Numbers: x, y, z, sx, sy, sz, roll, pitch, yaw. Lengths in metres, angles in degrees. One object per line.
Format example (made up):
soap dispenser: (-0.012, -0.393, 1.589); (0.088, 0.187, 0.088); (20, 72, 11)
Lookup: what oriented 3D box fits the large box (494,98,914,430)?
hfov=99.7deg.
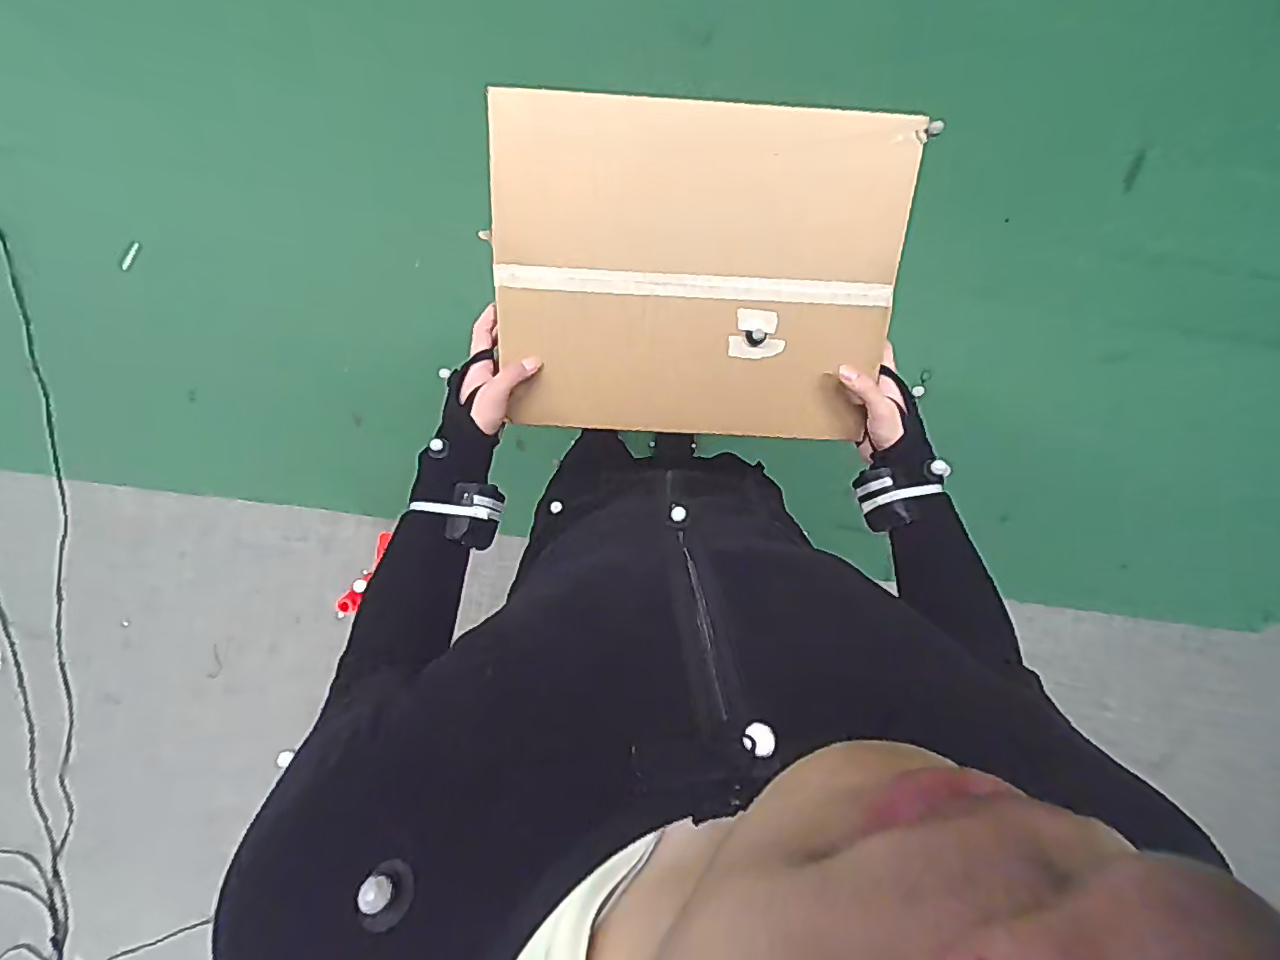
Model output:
large box: (0.053, -0.256, 0.695); (0.408, 0.320, 0.320); (2, 112, -2)

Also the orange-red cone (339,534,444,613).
orange-red cone: (-0.720, 0.294, 1.498); (0.199, 0.360, 0.198); (15, 95, 0)
